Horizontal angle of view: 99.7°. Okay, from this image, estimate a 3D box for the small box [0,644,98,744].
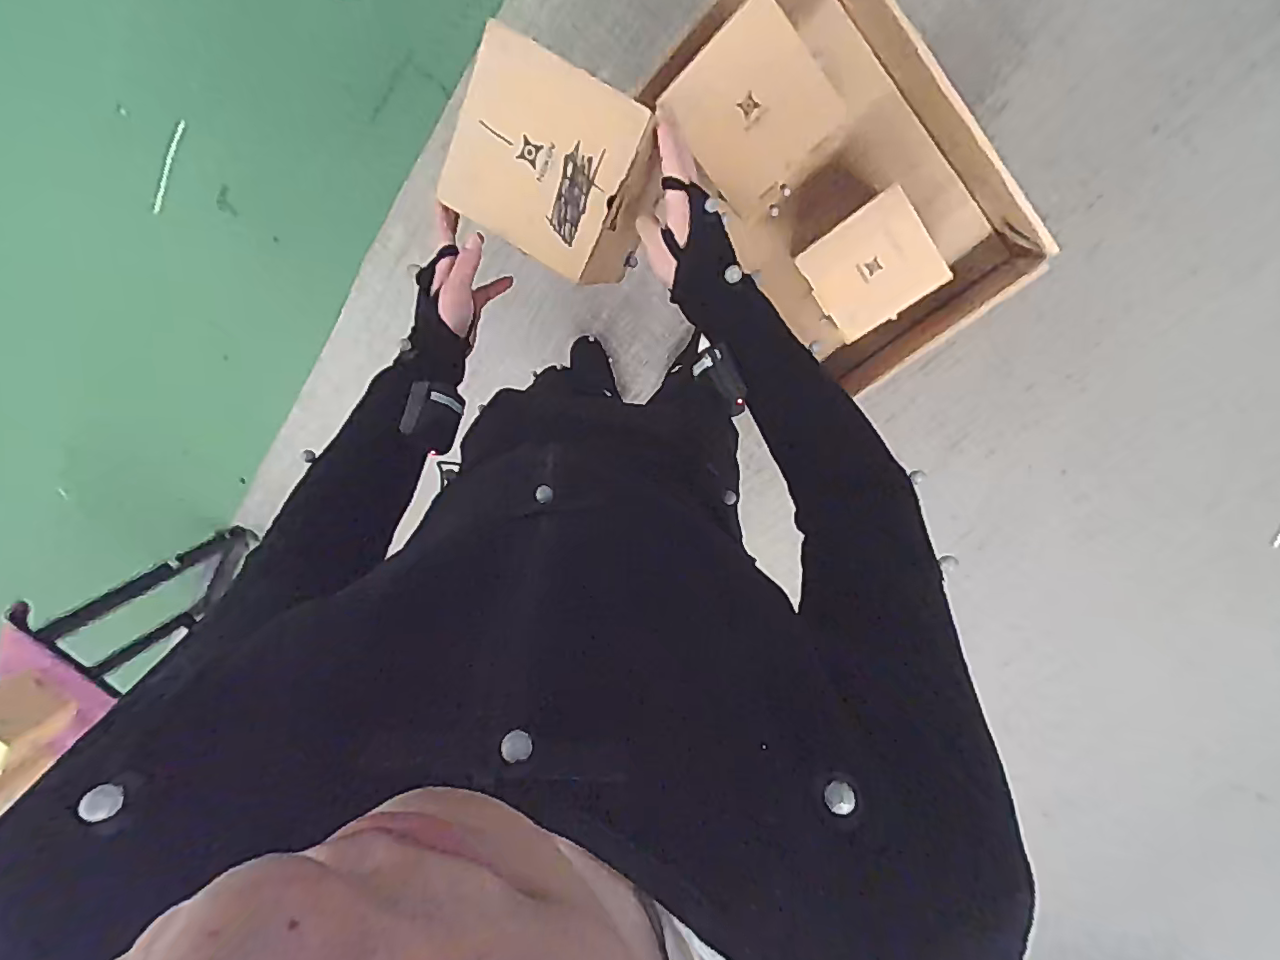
[{"bbox_3d":[-1.731,0.613,1.559,0.168,0.176,0.179,43,117,-7],"label":"small box"}]

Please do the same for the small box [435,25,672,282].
[{"bbox_3d":[-0.084,-0.341,0.597,0.179,0.176,0.168,31,116,2],"label":"small box"}]

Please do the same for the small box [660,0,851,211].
[{"bbox_3d":[0.154,-0.487,0.726,0.168,0.176,0.179,-35,102,26],"label":"small box"}]

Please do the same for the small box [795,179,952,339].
[{"bbox_3d":[0.378,-0.363,0.901,0.179,0.176,0.168,-31,103,25],"label":"small box"}]

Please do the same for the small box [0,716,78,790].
[{"bbox_3d":[-1.956,0.835,1.719,0.168,0.176,0.179,40,117,-8],"label":"small box"}]
